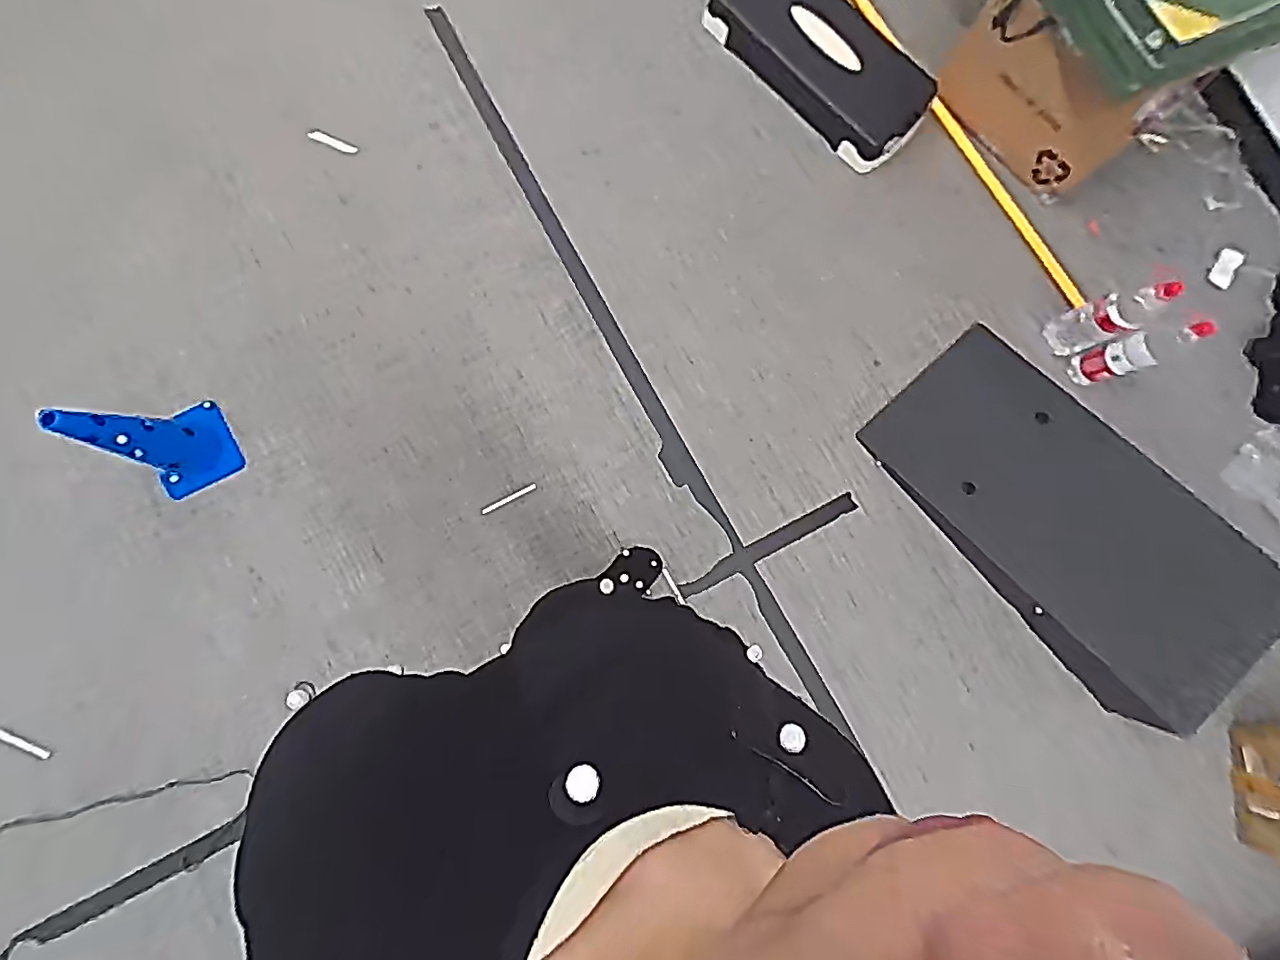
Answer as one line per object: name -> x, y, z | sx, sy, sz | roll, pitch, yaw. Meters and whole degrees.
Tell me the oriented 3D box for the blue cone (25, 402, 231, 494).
blue cone -> -1.119, -0.096, 1.177 | 0.193, 0.380, 0.192 | -27, 85, -5
